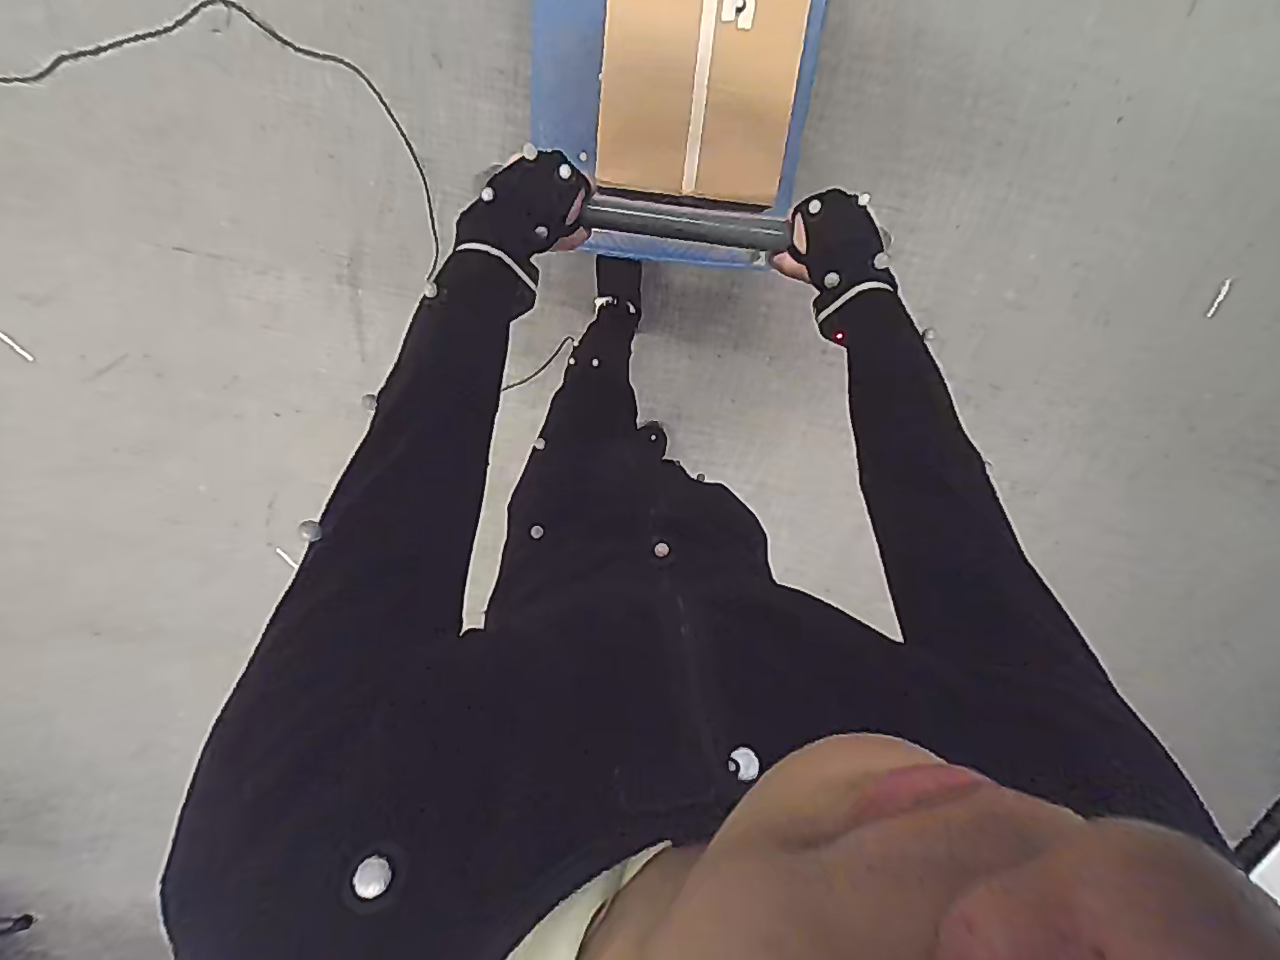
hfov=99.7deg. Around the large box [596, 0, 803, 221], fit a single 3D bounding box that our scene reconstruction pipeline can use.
[{"bbox_3d":[0.091,-0.726,1.002,0.320,0.320,0.408,4,110,-4],"label":"large box"}]
